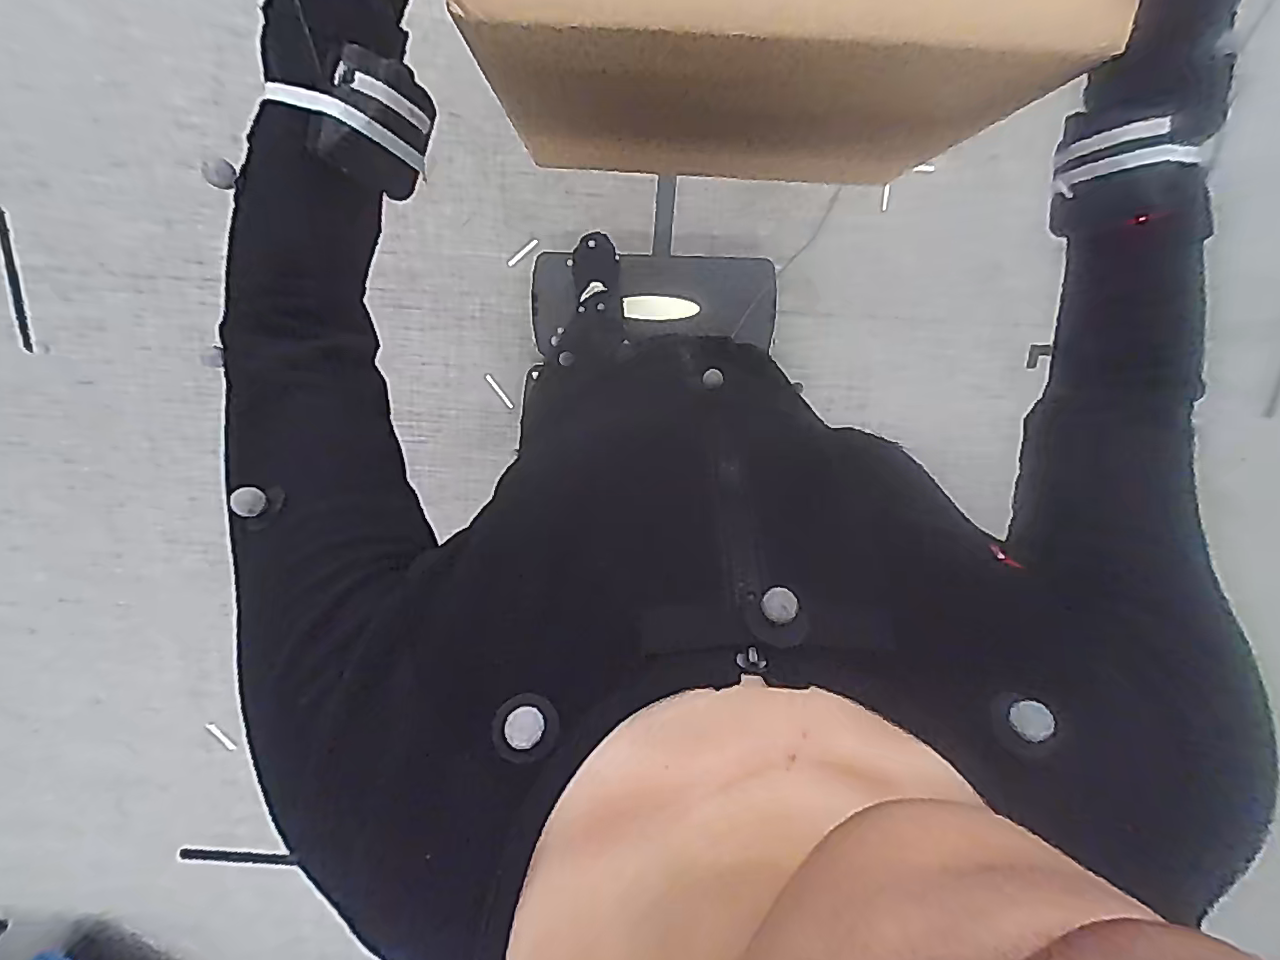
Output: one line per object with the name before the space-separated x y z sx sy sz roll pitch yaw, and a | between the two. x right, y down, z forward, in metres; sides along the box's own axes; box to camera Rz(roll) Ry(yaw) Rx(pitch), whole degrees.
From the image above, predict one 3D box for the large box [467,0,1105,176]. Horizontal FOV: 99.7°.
large box | 0.088 -0.462 0.439 0.408 0.320 0.320 1 106 -3
